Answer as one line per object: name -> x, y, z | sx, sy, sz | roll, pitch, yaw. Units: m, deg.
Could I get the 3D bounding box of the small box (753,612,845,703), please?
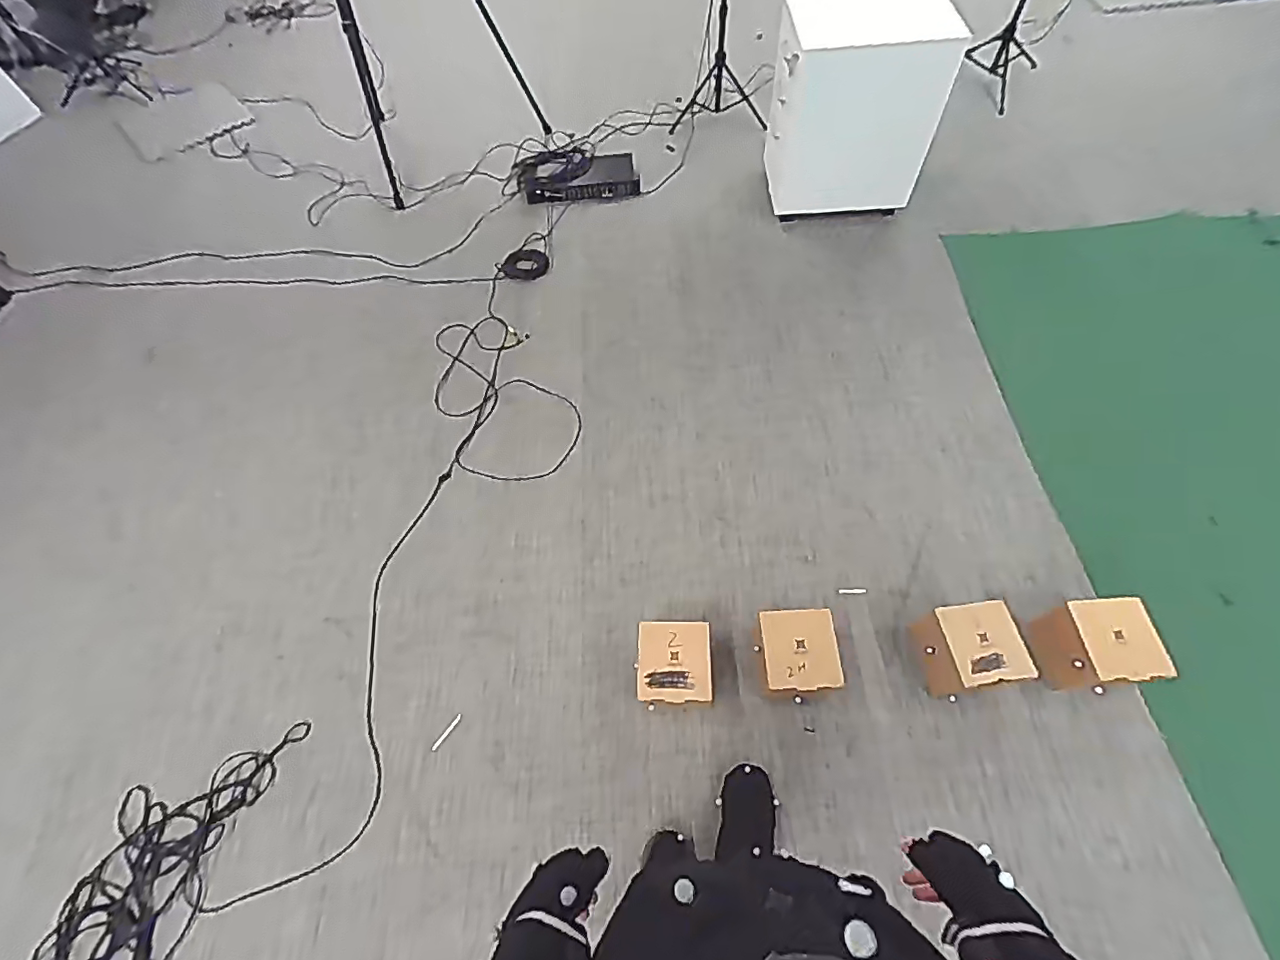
small box -> 0.368, 0.424, 1.285 | 0.168, 0.176, 0.179 | -3, 60, 3

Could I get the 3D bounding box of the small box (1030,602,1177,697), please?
small box -> 1.062, 0.397, 1.261 | 0.168, 0.176, 0.179 | -4, 60, 2

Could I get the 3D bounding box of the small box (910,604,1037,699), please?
small box -> 0.770, 0.409, 1.271 | 0.168, 0.176, 0.179 | -7, 59, -1
